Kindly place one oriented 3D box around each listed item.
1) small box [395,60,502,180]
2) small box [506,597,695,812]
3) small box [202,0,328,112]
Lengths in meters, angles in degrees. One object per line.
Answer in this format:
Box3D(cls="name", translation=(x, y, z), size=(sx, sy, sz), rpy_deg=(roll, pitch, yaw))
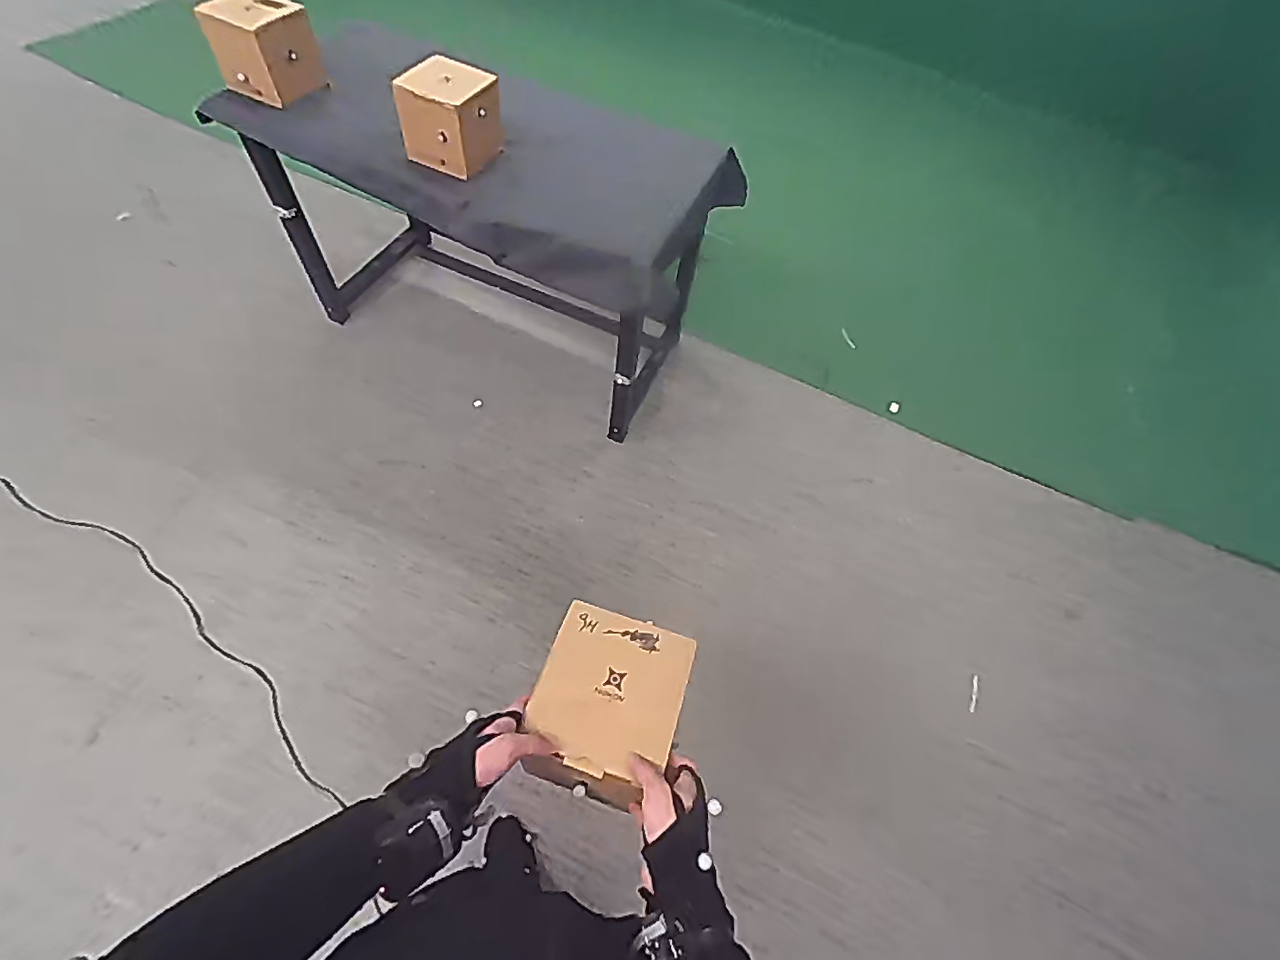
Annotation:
Box3D(cls="small box", translation=(-0.443, -0.852, 1.289), size=(0.168, 0.176, 0.179), rpy_deg=(24, 57, 5))
Box3D(cls="small box", translation=(-0.042, 0.280, 0.664), size=(0.168, 0.176, 0.179), rpy_deg=(17, 52, 7))
Box3D(cls="small box", translation=(-0.917, -1.064, 1.348), size=(0.168, 0.176, 0.179), rpy_deg=(24, 59, 7))
